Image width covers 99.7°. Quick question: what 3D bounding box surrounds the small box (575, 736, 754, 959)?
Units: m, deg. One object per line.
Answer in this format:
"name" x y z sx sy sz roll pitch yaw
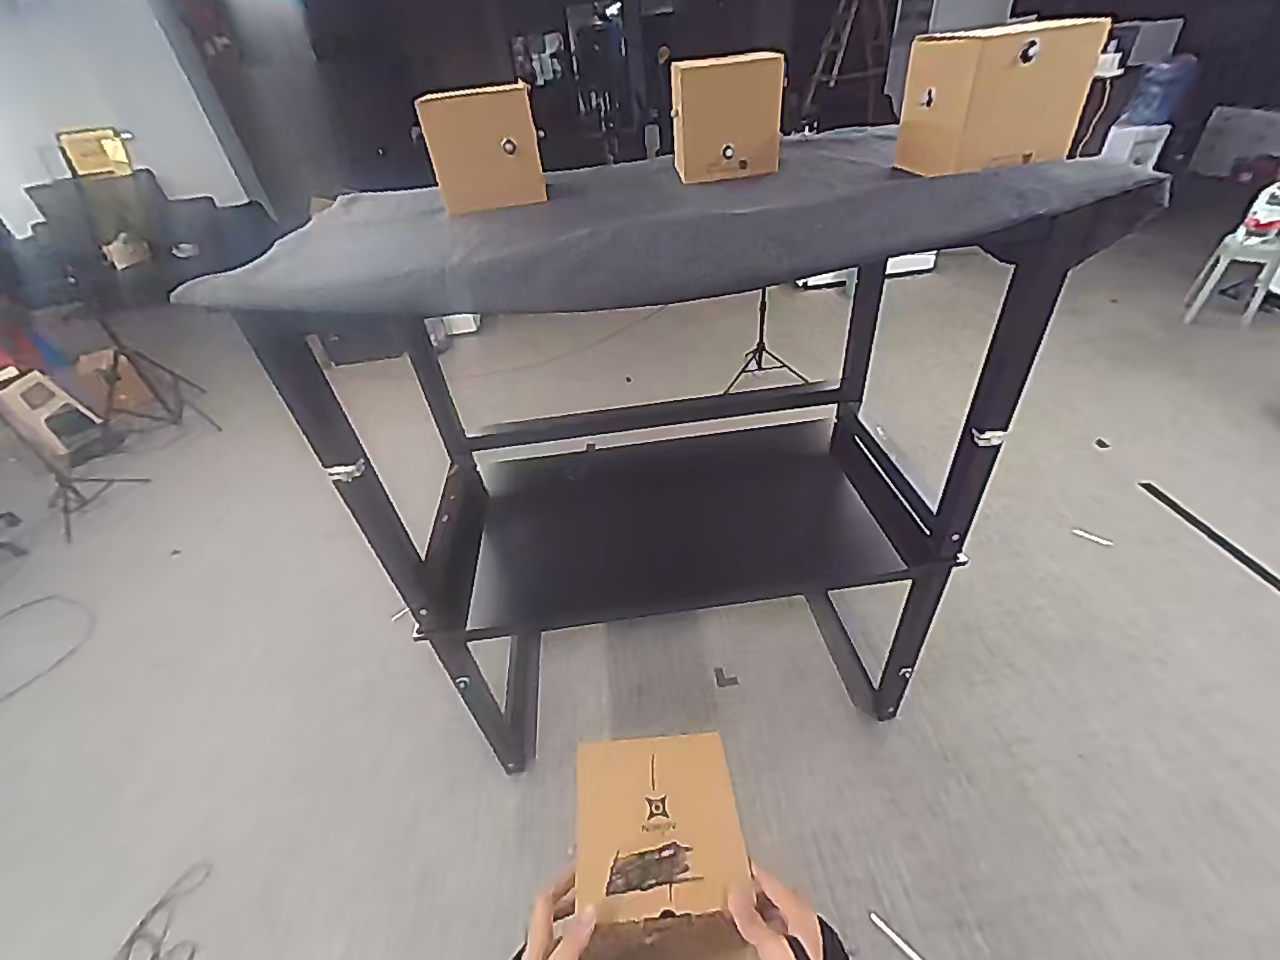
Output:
"small box" 0.019 0.416 0.595 0.168 0.176 0.179 -2 31 -4

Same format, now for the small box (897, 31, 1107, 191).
"small box" 0.501 -0.531 0.786 0.168 0.176 0.179 -9 38 -1

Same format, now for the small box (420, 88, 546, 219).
"small box" -0.264 -0.579 0.959 0.179 0.176 0.168 -9 39 -4
